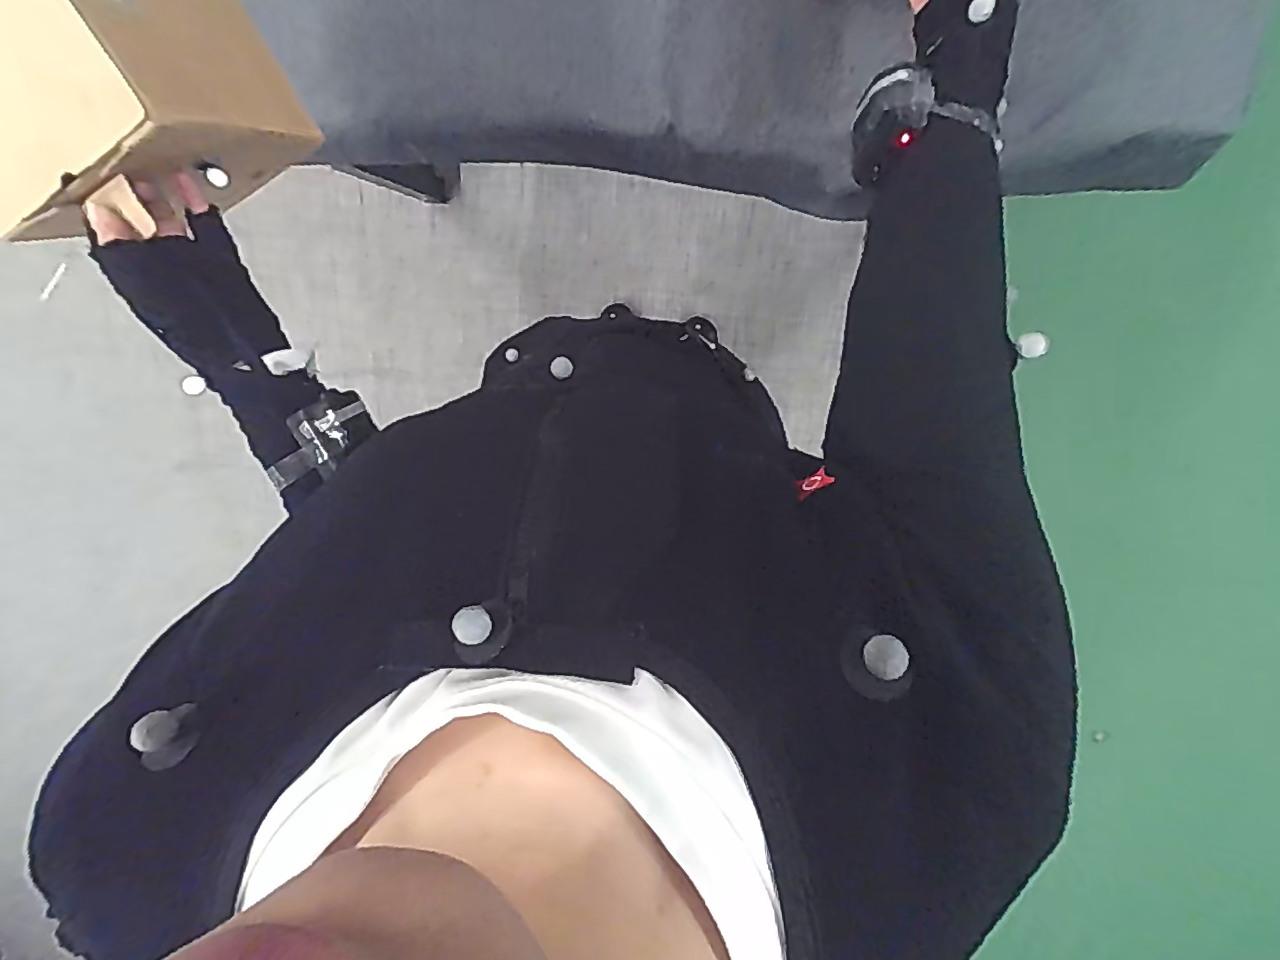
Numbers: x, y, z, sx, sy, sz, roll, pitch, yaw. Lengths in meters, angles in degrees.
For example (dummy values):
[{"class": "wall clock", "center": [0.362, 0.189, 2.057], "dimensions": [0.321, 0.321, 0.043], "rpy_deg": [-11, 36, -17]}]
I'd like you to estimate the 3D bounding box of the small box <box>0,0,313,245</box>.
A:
[{"class": "small box", "center": [-0.382, -0.289, 0.376], "dimensions": [0.168, 0.176, 0.179], "rpy_deg": [-20, 112, 17]}]
